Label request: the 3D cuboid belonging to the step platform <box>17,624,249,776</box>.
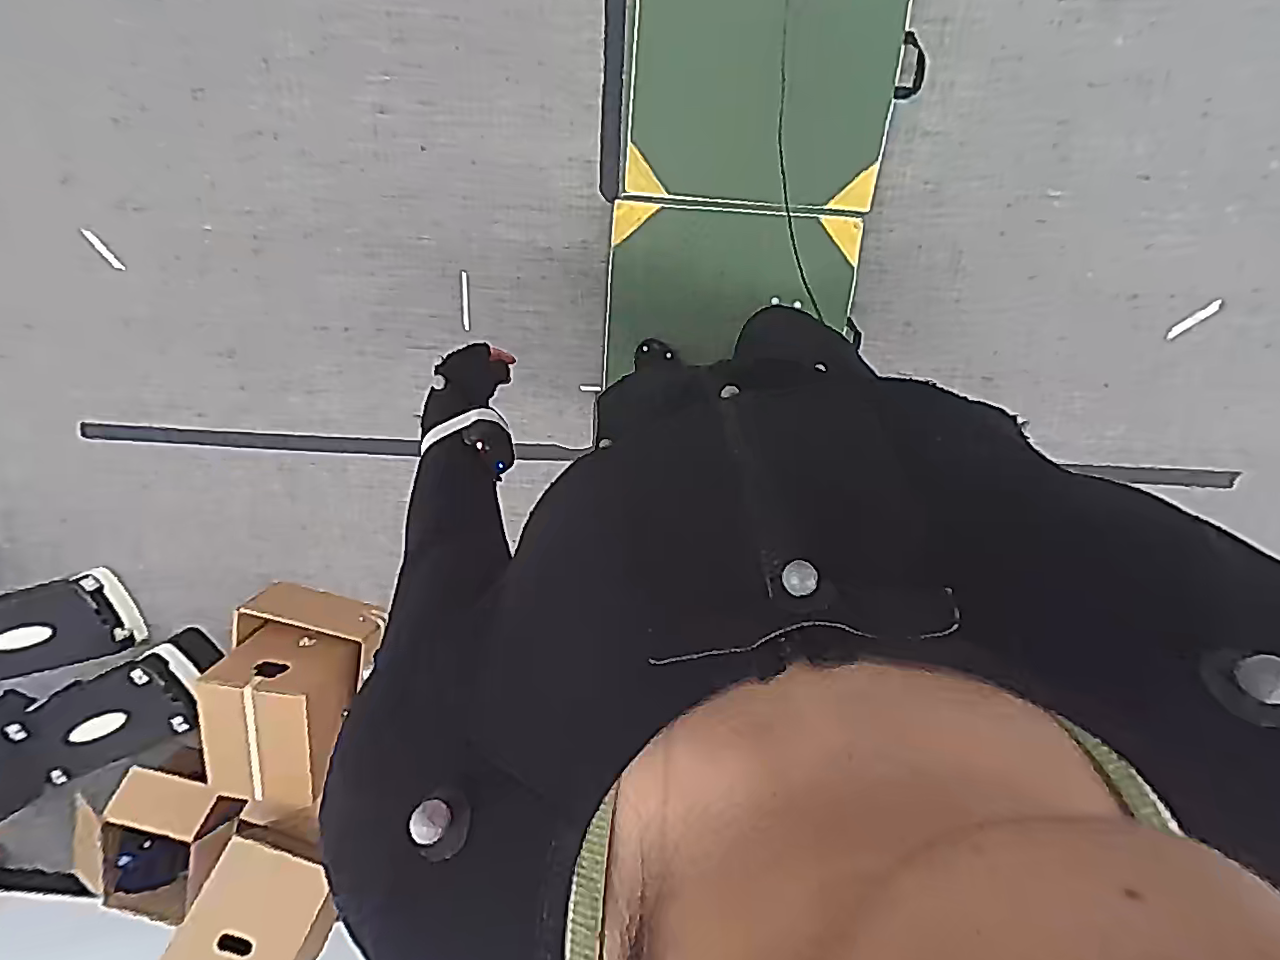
[{"bbox_3d":[-1.730,0.755,1.848,0.684,0.204,0.286,-25,105,10],"label":"step platform"}]
